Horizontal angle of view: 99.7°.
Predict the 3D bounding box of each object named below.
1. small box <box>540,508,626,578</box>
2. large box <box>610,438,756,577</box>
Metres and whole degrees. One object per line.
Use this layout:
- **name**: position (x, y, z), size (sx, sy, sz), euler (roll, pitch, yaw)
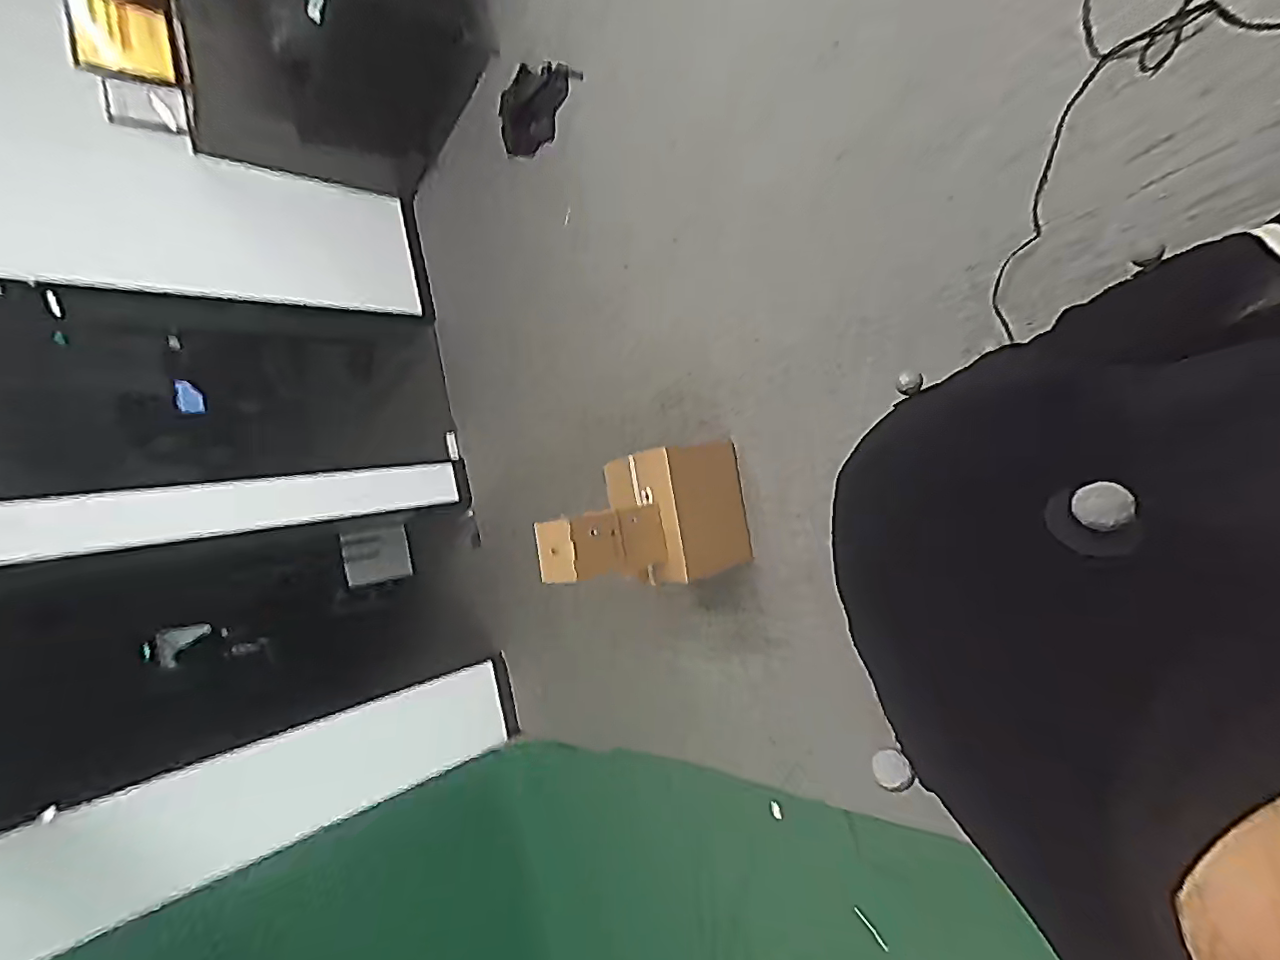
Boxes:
- **small box**: position (-0.152, 0.173, 1.494), size (0.179, 0.176, 0.168), euler (-13, 84, 50)
- **large box**: position (0.139, 0.090, 1.771), size (0.320, 0.320, 0.408), euler (-12, 86, 48)
